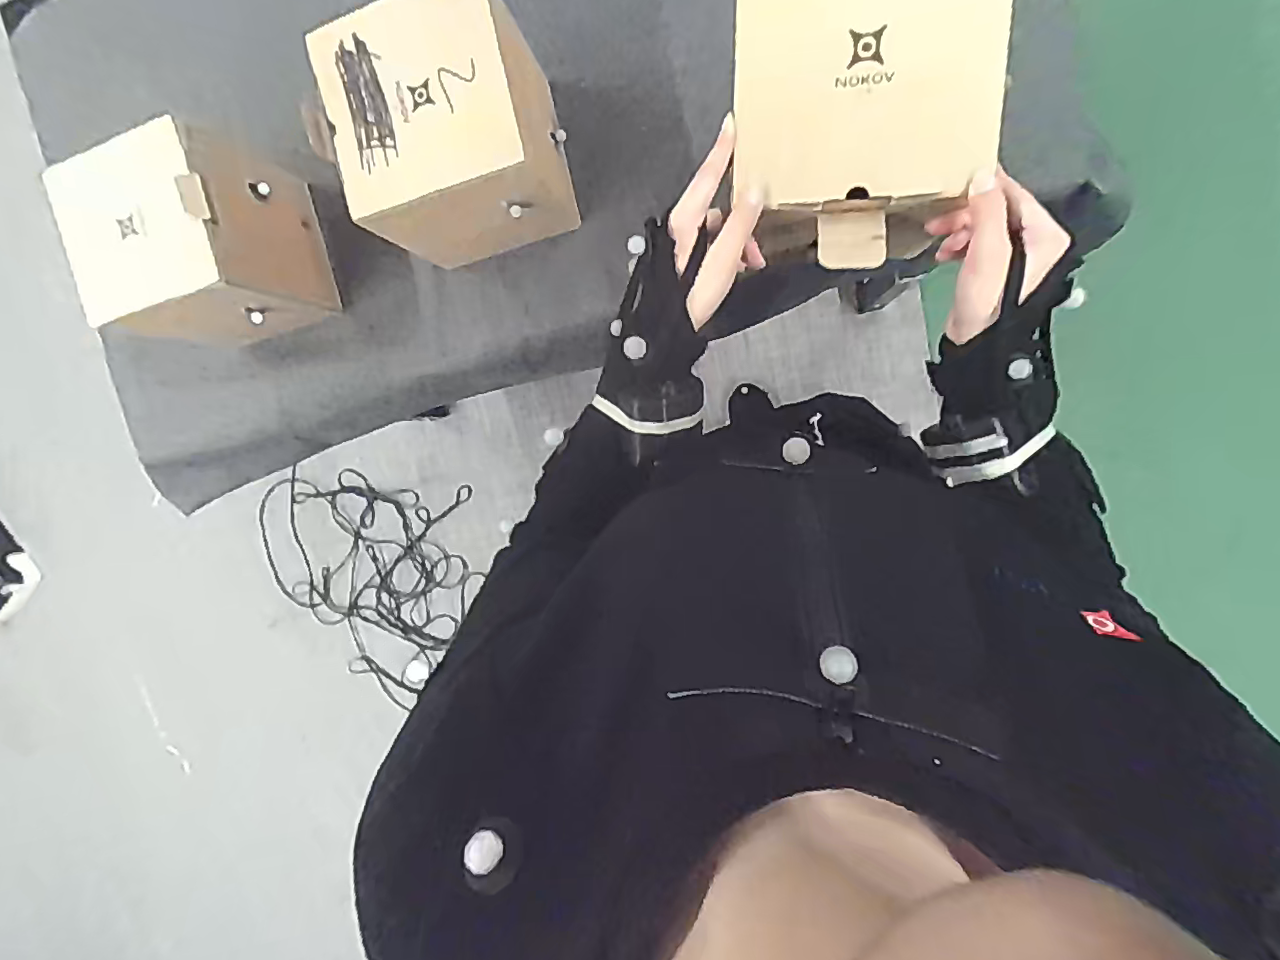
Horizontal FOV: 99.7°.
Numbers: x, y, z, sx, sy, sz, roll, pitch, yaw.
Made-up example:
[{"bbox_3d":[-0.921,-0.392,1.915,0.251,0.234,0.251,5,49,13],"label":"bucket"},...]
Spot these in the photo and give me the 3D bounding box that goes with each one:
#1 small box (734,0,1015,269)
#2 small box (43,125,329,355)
[{"bbox_3d":[0.159,-0.276,0.422,0.168,0.176,0.179,2,101,11],"label":"small box"},{"bbox_3d":[-0.490,-0.251,0.614,0.179,0.176,0.168,-14,93,13],"label":"small box"}]
